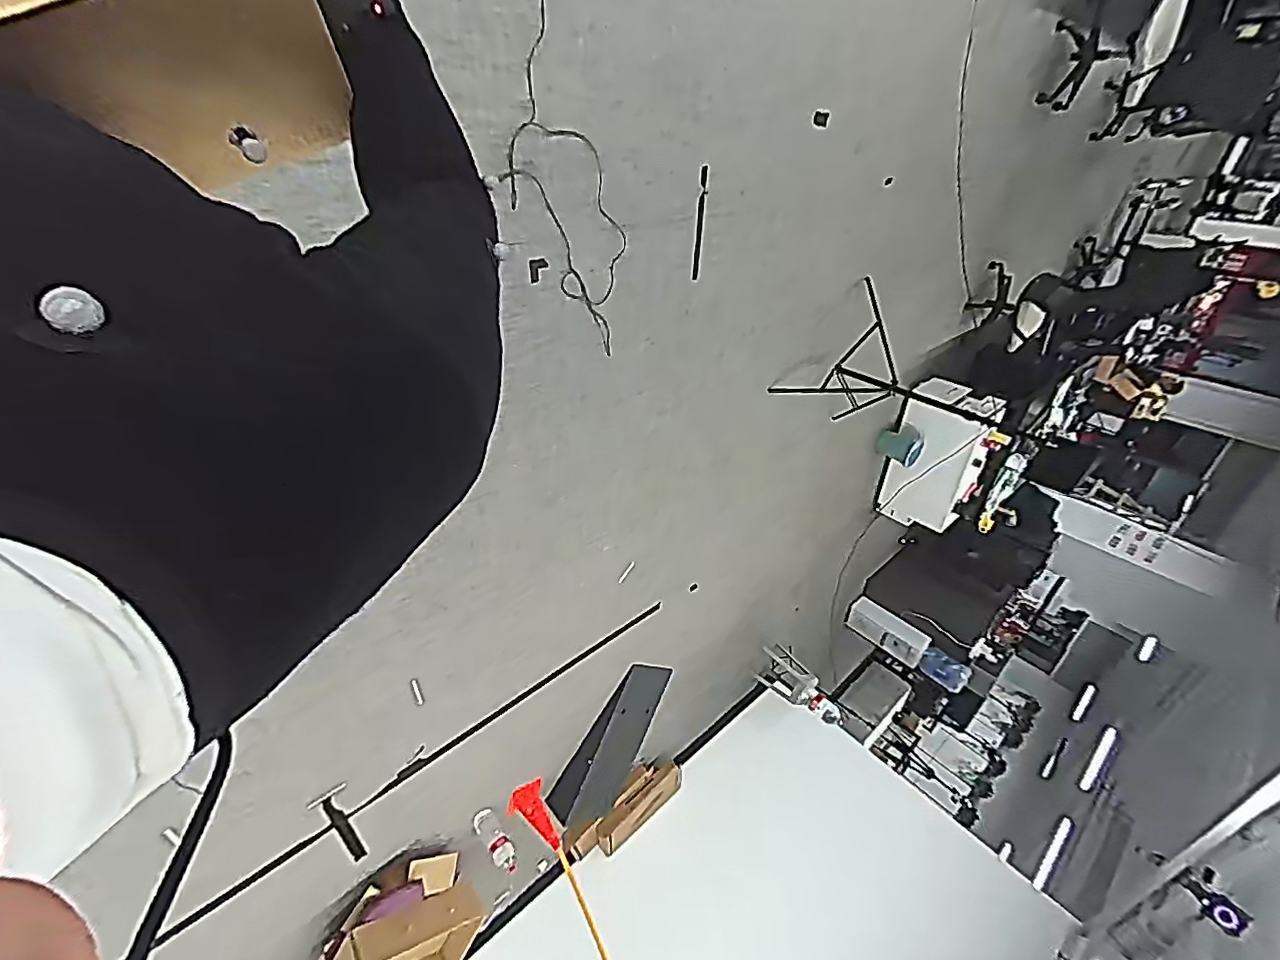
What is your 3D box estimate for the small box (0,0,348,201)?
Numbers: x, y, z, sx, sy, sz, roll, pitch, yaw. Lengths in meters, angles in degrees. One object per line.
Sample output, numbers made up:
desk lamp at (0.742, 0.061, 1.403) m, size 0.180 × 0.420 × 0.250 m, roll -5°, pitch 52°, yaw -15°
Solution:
small box at (-0.330, -0.332, 0.369) m, size 0.179 × 0.176 × 0.168 m, roll -30°, pitch 95°, yaw -13°
